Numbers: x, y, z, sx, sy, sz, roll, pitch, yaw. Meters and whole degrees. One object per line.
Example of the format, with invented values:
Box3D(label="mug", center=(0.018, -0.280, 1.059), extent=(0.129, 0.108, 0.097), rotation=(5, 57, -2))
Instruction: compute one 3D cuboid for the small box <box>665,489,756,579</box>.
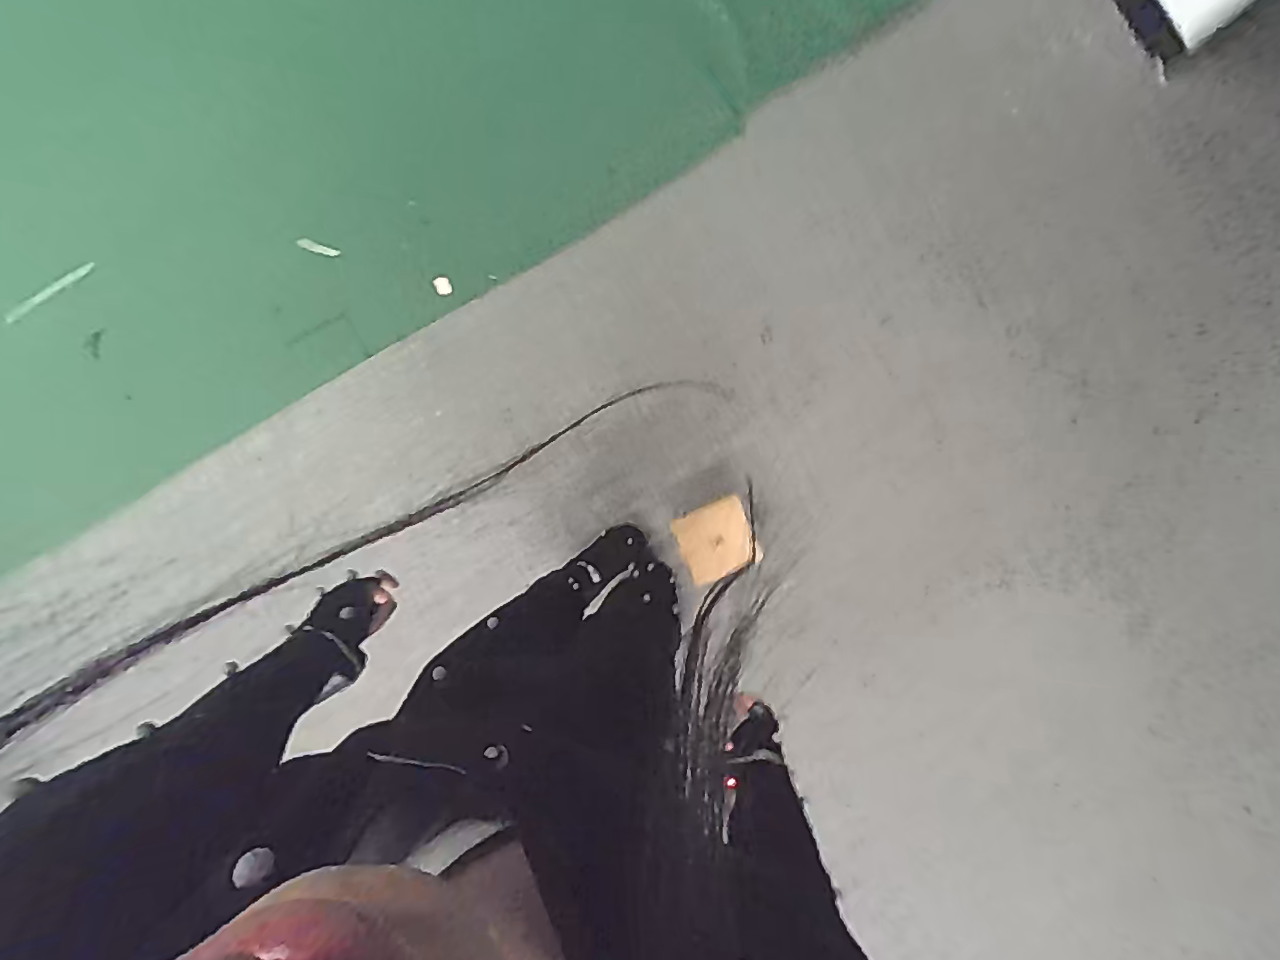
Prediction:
Box3D(label="small box", center=(0.170, 0.128, 1.366), extent=(0.179, 0.176, 0.168), rotation=(-23, 90, 4))
